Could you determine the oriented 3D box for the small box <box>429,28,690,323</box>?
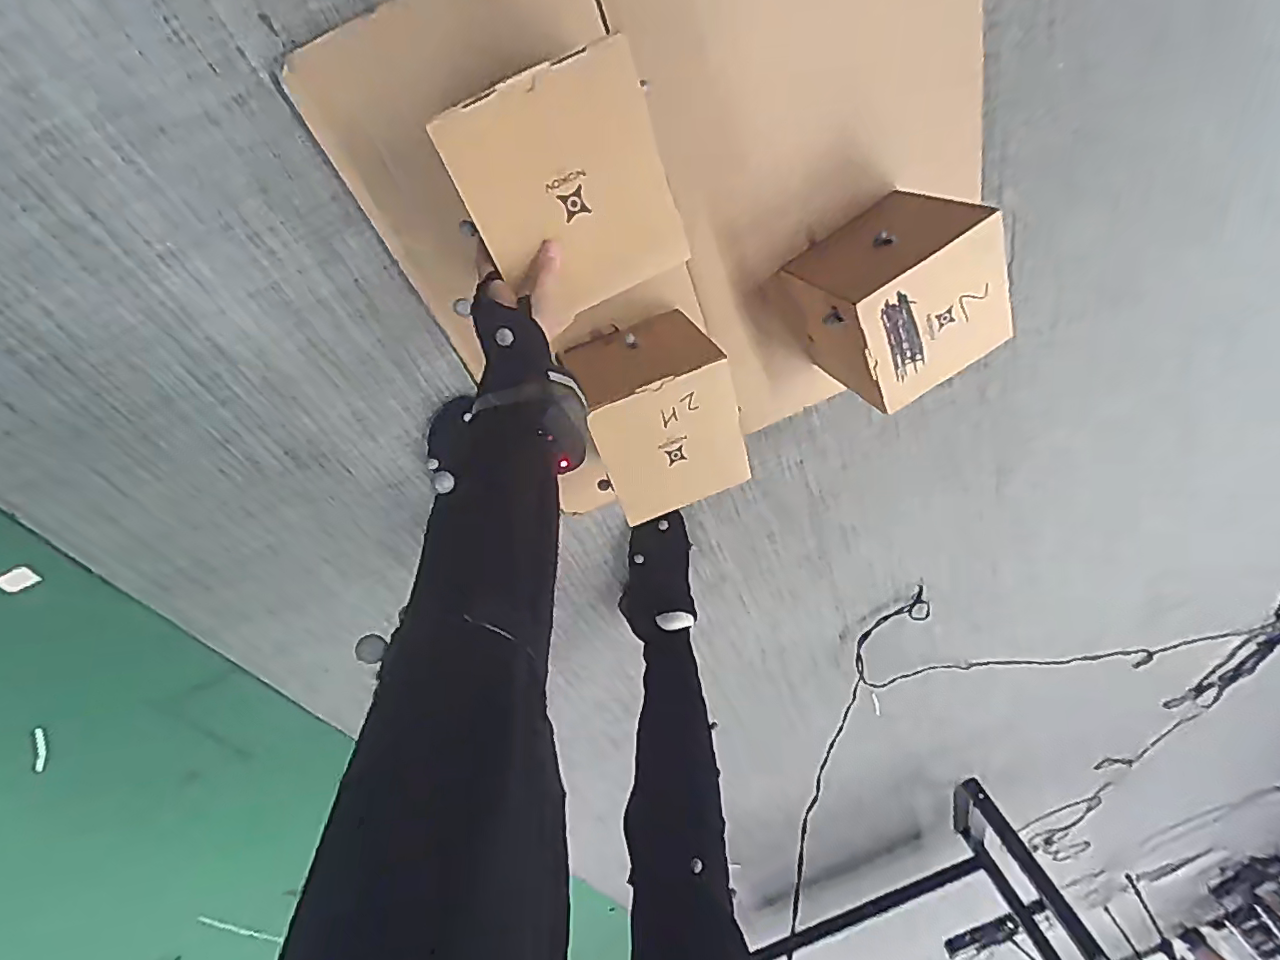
[{"bbox_3d":[-0.073,-0.280,0.516,0.168,0.176,0.179,-25,122,0],"label":"small box"}]

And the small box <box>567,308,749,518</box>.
[{"bbox_3d":[0.020,-0.088,0.681,0.168,0.176,0.179,-21,127,-2],"label":"small box"}]
